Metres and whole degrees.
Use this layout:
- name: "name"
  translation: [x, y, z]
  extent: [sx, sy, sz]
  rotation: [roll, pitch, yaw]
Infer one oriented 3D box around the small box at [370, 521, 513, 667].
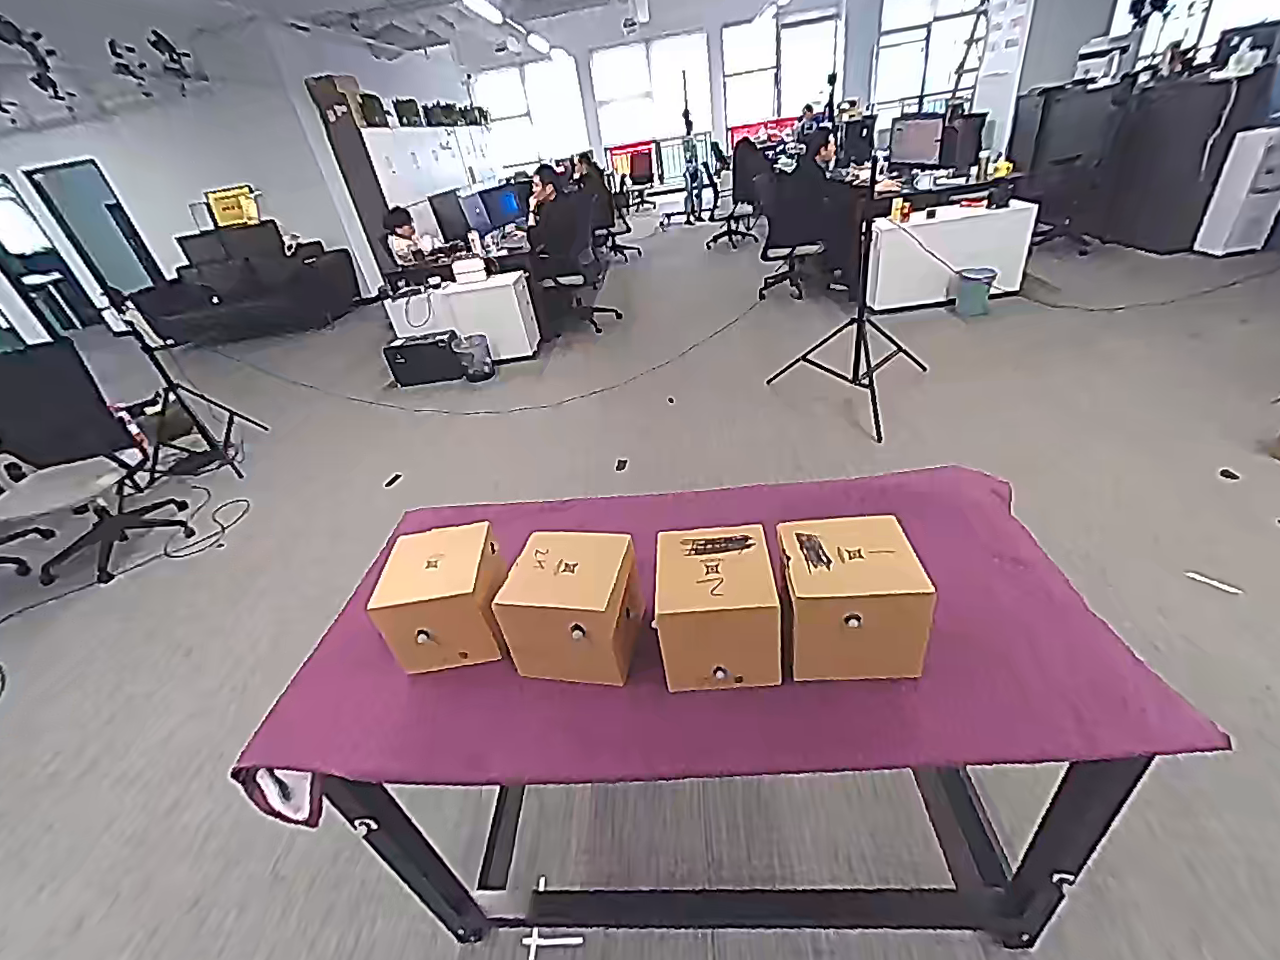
- name: "small box"
  translation: [-0.326, 0.200, 0.931]
  extent: [0.168, 0.176, 0.179]
  rotation: [-10, 33, 0]
